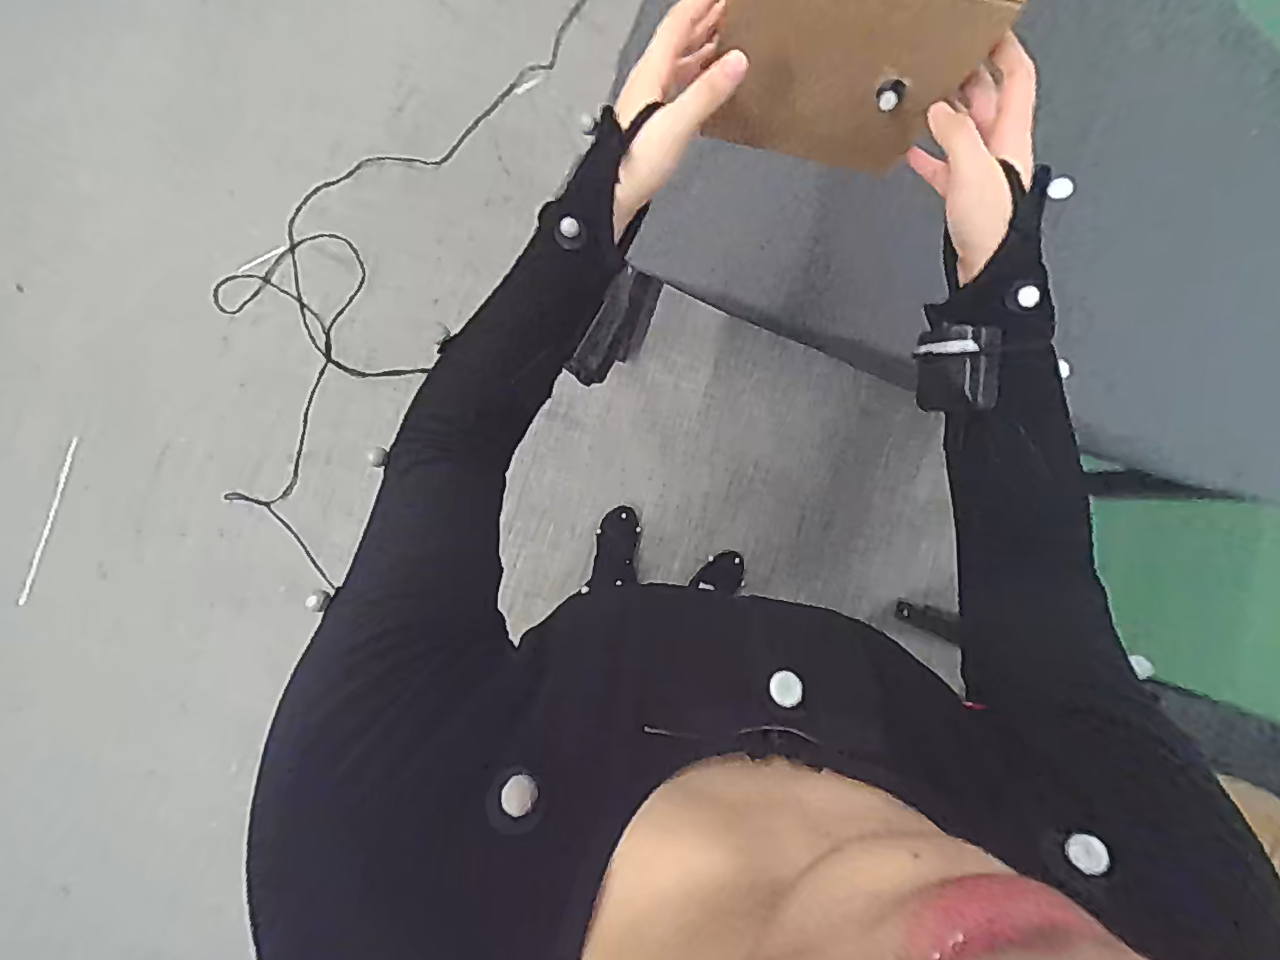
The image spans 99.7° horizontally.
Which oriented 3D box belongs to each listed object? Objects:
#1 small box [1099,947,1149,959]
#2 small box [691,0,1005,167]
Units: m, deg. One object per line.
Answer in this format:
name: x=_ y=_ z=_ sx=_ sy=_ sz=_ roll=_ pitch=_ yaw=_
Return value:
small box: x=0.685 y=0.745 z=0.672 sx=0.179 sy=0.176 sz=0.168 roll=21 pitch=89 yaw=0
small box: x=0.145 y=-0.371 z=0.405 sx=0.179 sy=0.176 sz=0.168 roll=10 pitch=85 yaw=0
